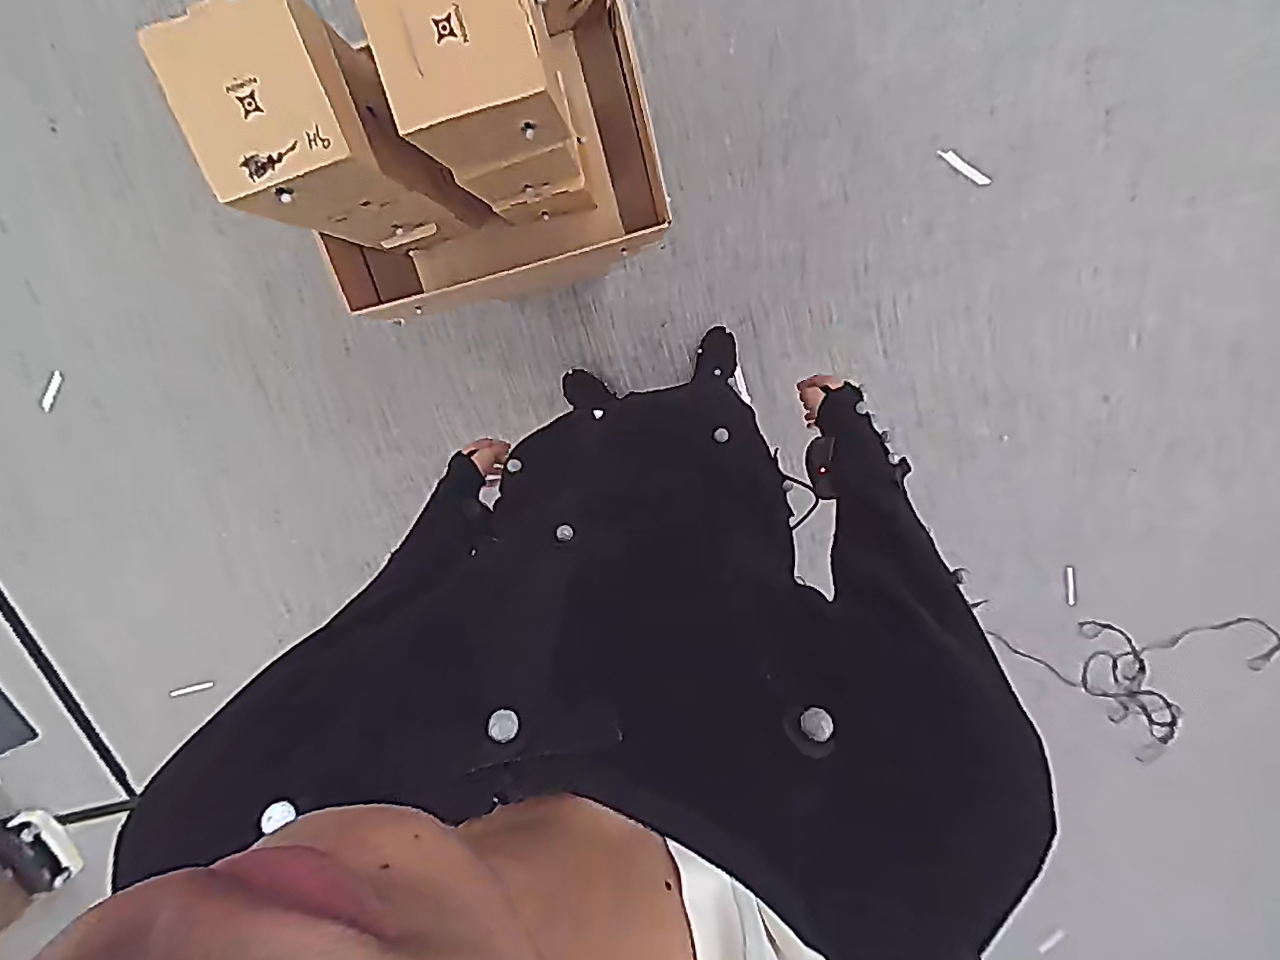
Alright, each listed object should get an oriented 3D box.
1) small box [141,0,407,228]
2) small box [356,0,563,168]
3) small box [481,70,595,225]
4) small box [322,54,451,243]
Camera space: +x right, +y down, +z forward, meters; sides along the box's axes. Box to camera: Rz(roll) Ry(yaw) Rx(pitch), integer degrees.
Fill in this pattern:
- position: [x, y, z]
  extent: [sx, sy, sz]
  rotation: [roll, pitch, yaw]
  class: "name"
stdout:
- position: [-0.419, -0.432, 0.654]
  extent: [0.168, 0.176, 0.179]
  rotation: [-16, 104, 6]
  class: "small box"
- position: [-0.197, -0.497, 0.640]
  extent: [0.179, 0.176, 0.168]
  rotation: [-12, 106, 7]
  class: "small box"
- position: [-0.184, -0.574, 0.958]
  extent: [0.168, 0.176, 0.179]
  rotation: [-12, 106, 6]
  class: "small box"
- position: [-0.413, -0.479, 0.813]
  extent: [0.168, 0.176, 0.179]
  rotation: [-17, 106, 5]
  class: "small box"
